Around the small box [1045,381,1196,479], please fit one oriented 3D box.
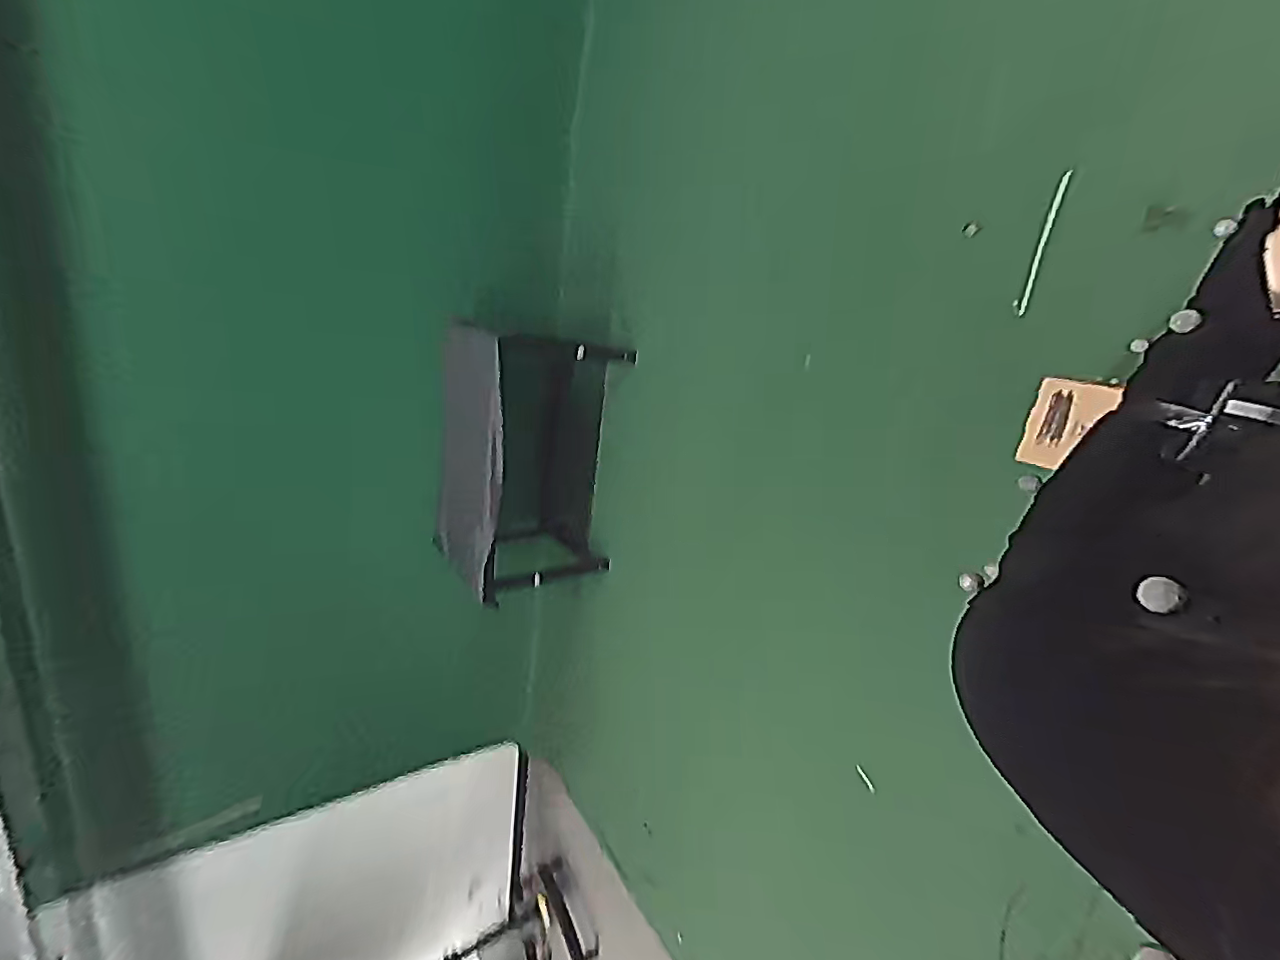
[{"bbox_3d":[1.003,-0.112,1.129,0.179,0.176,0.168,29,118,50],"label":"small box"}]
